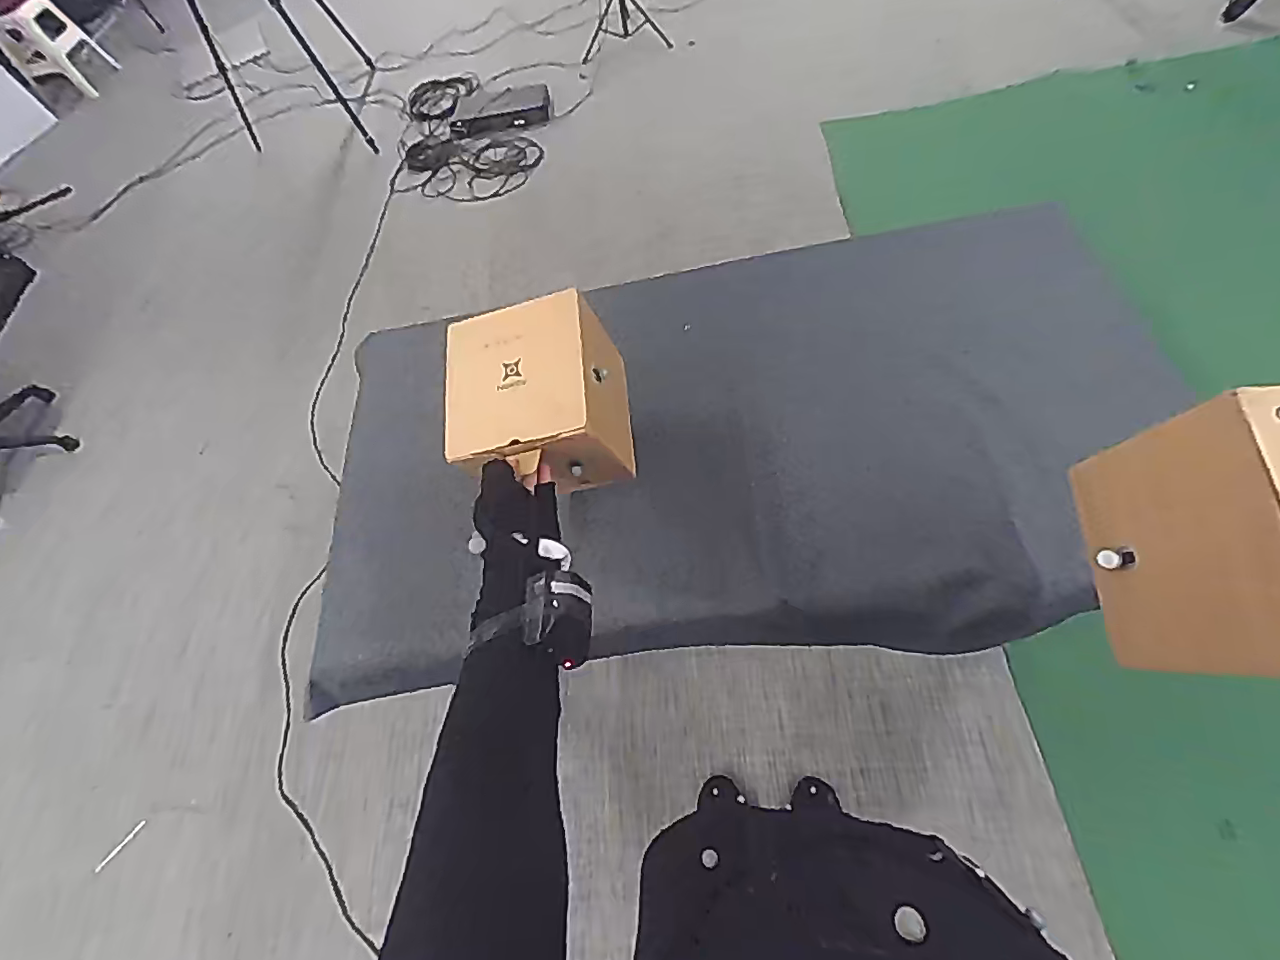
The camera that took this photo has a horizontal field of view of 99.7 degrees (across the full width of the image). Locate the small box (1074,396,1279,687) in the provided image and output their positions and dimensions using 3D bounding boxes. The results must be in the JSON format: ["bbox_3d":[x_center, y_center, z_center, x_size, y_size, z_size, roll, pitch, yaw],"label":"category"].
[{"bbox_3d":[0.461,0.051,0.382,0.168,0.176,0.179,-2,73,5],"label":"small box"}]

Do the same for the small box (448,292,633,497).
[{"bbox_3d":[-0.113,-0.088,0.659,0.168,0.176,0.179,-12,68,12],"label":"small box"}]
